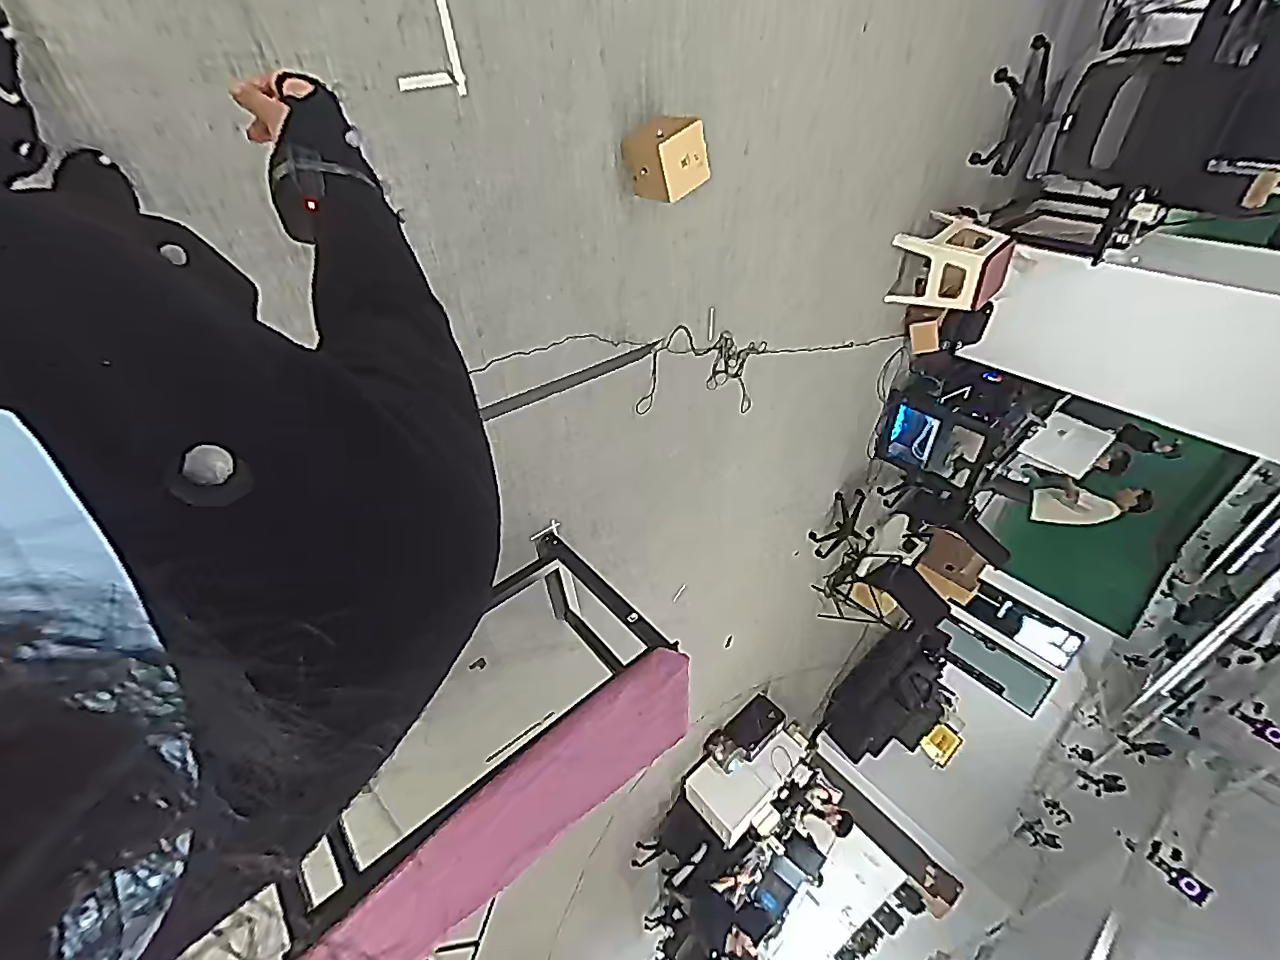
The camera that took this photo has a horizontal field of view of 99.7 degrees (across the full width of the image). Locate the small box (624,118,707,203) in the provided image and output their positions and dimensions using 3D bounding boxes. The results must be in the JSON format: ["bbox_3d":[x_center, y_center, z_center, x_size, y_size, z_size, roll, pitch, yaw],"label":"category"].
[{"bbox_3d":[0.071,-0.962,1.625,0.179,0.176,0.168,-41,141,-17],"label":"small box"}]
